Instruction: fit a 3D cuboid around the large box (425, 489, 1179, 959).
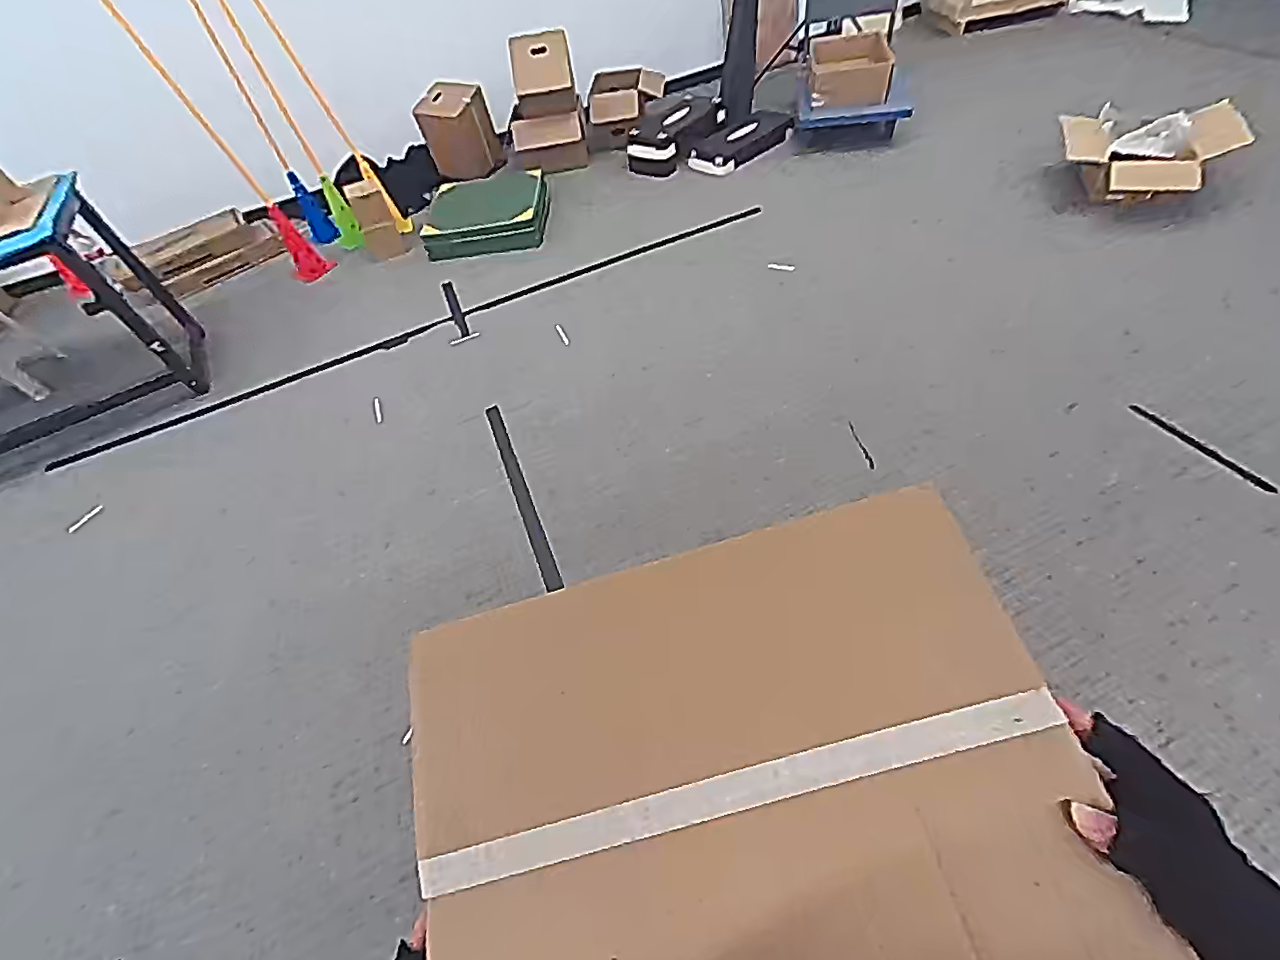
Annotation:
[{"bbox_3d":[0.082,0.259,0.479,0.408,0.320,0.320,-17,64,3],"label":"large box"}]
